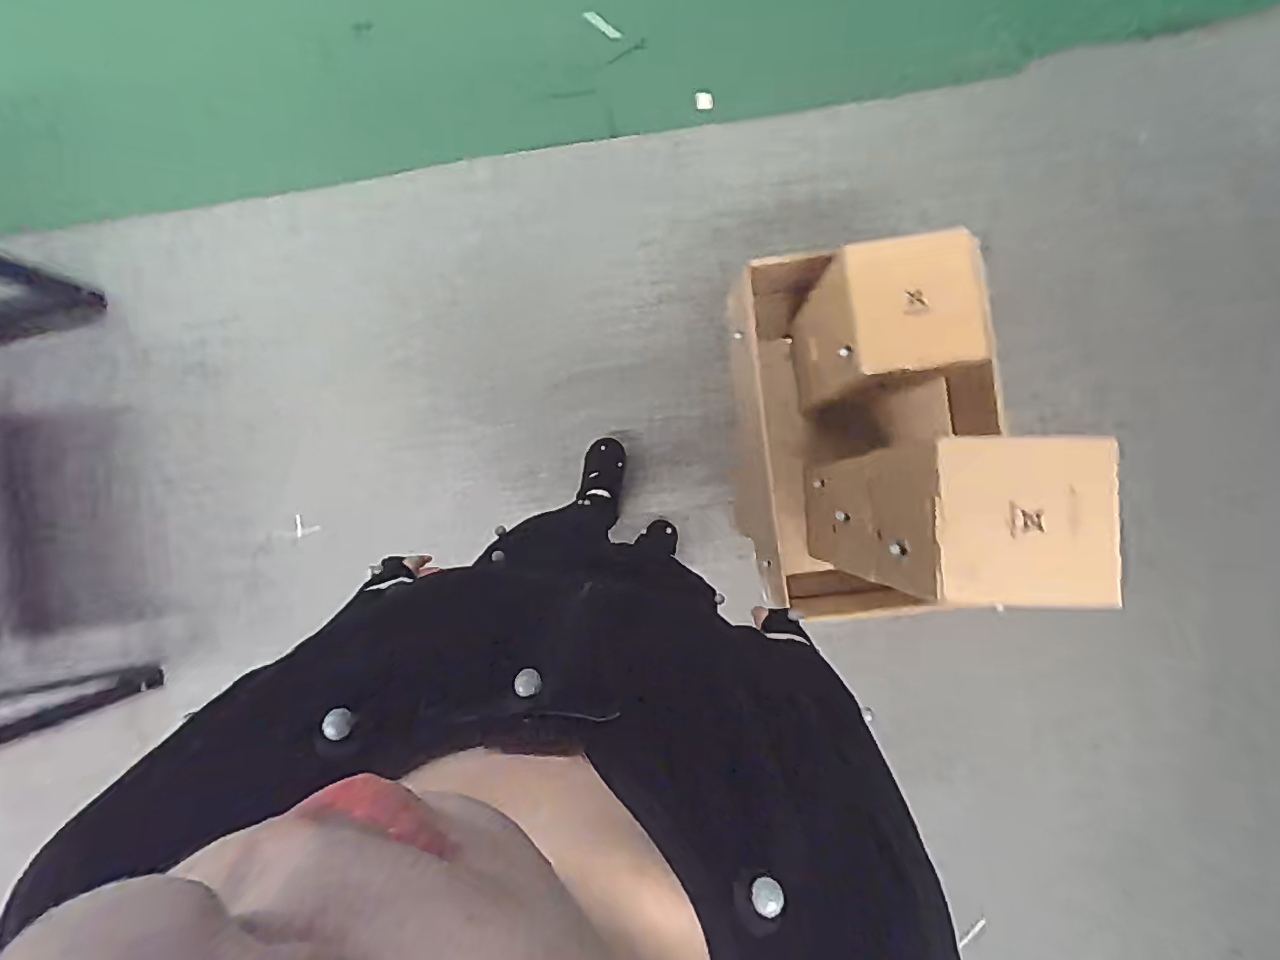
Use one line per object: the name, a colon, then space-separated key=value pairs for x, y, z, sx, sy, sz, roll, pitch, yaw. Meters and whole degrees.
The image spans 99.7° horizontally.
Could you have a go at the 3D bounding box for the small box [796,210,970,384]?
small box: x=0.337 y=-0.253 z=0.786 sx=0.168 sy=0.176 sz=0.179 roll=-11 pitch=88 yaw=3
